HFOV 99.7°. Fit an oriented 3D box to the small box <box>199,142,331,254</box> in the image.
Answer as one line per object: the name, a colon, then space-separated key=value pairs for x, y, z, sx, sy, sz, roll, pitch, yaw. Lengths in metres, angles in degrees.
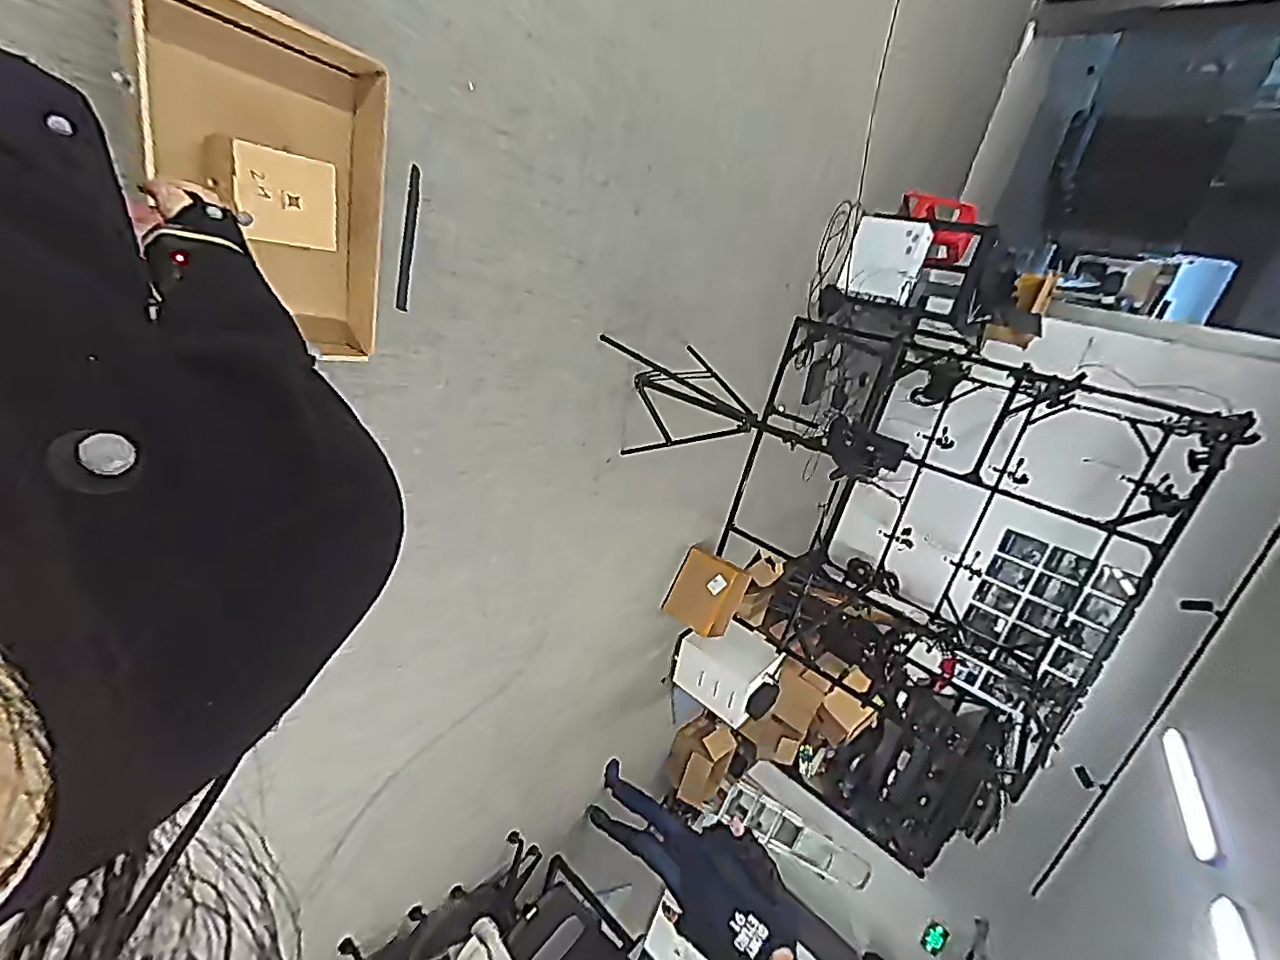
small box: x=-0.751 y=-0.568 z=1.090 sx=0.179 sy=0.176 sz=0.168 roll=-14 pitch=122 yaw=-49
